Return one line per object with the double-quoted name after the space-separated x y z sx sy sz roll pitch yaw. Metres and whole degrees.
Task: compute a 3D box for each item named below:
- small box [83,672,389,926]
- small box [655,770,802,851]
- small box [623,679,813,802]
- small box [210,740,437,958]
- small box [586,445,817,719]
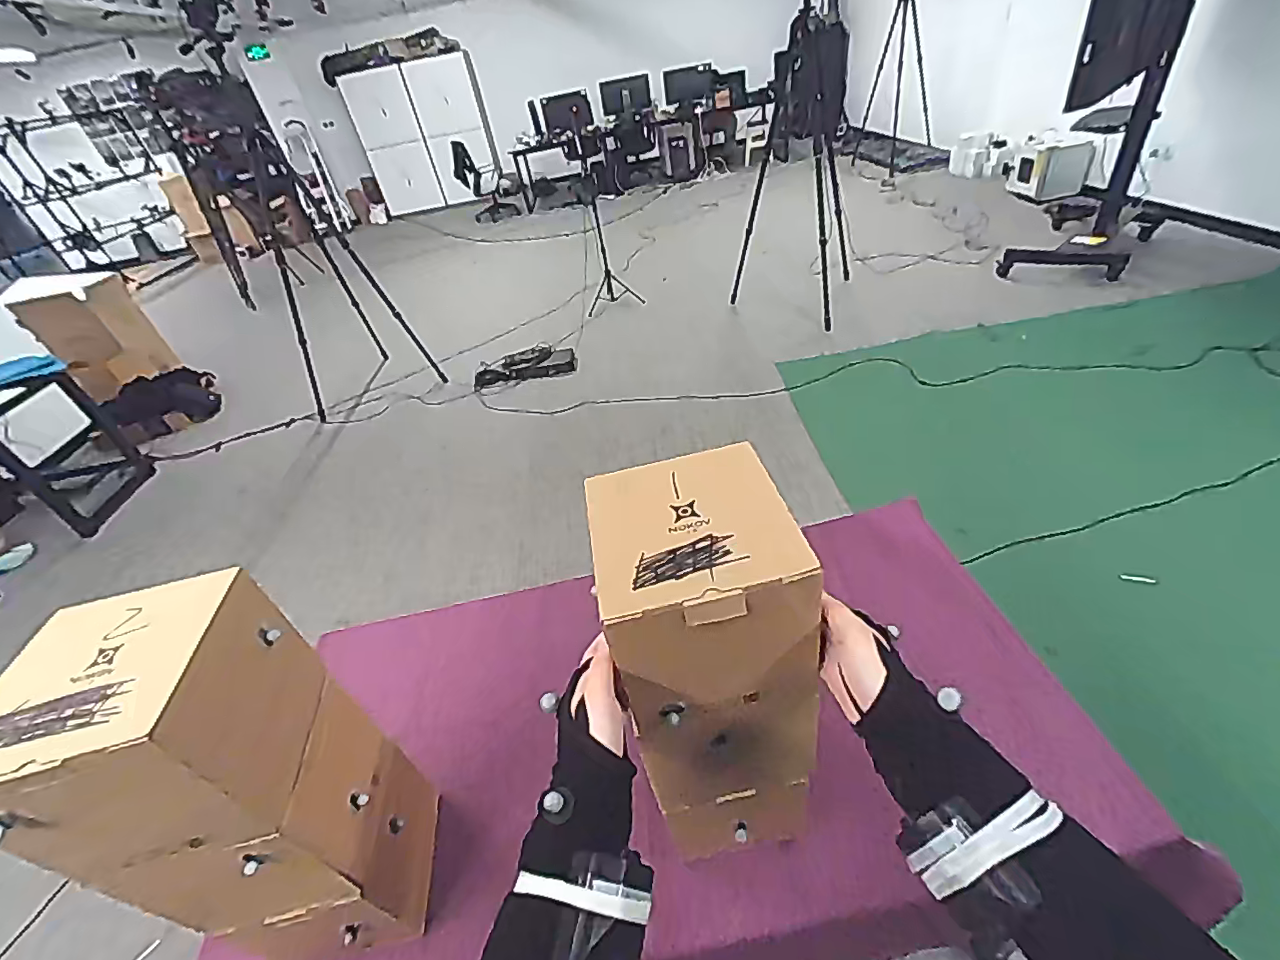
-0.404 0.344 0.584 0.179 0.176 0.168 -13 38 -4 "small box"
0.102 0.354 0.704 0.168 0.176 0.179 -12 39 -1 "small box"
0.078 0.227 0.600 0.179 0.176 0.168 -12 39 -1 "small box"
-0.374 0.469 0.684 0.168 0.176 0.179 -12 38 -2 "small box"
0.053 0.097 0.503 0.168 0.176 0.179 -13 37 -1 "small box"
